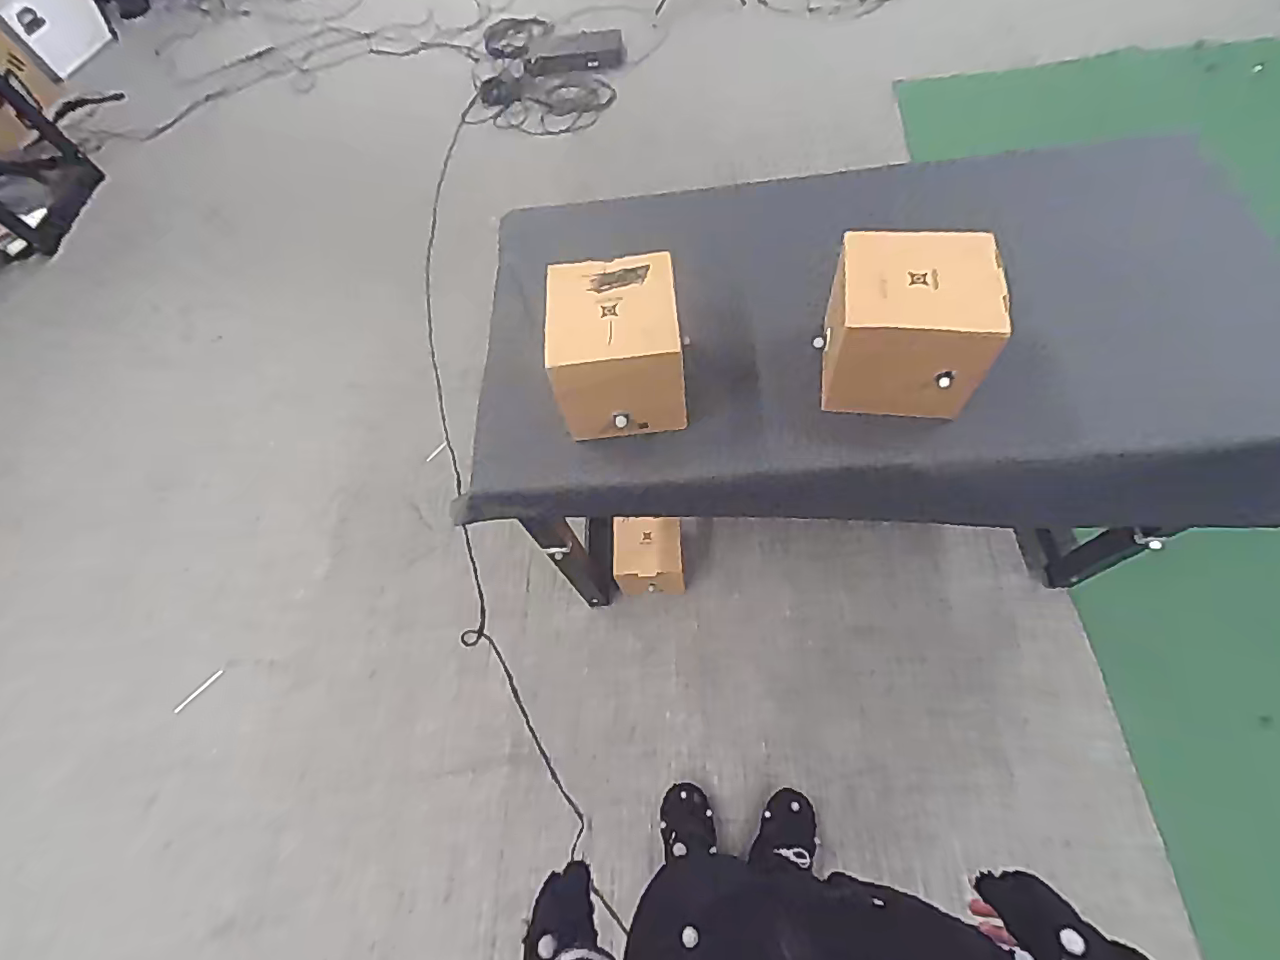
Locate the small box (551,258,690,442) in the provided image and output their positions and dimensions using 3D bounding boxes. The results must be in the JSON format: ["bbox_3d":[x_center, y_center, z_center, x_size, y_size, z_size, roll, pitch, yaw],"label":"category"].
[{"bbox_3d":[-0.021,-0.174,0.750,0.168,0.176,0.179,-6,61,4],"label":"small box"}]

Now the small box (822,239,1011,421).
[{"bbox_3d":[0.347,-0.192,0.715,0.179,0.176,0.168,4,61,11],"label":"small box"}]
